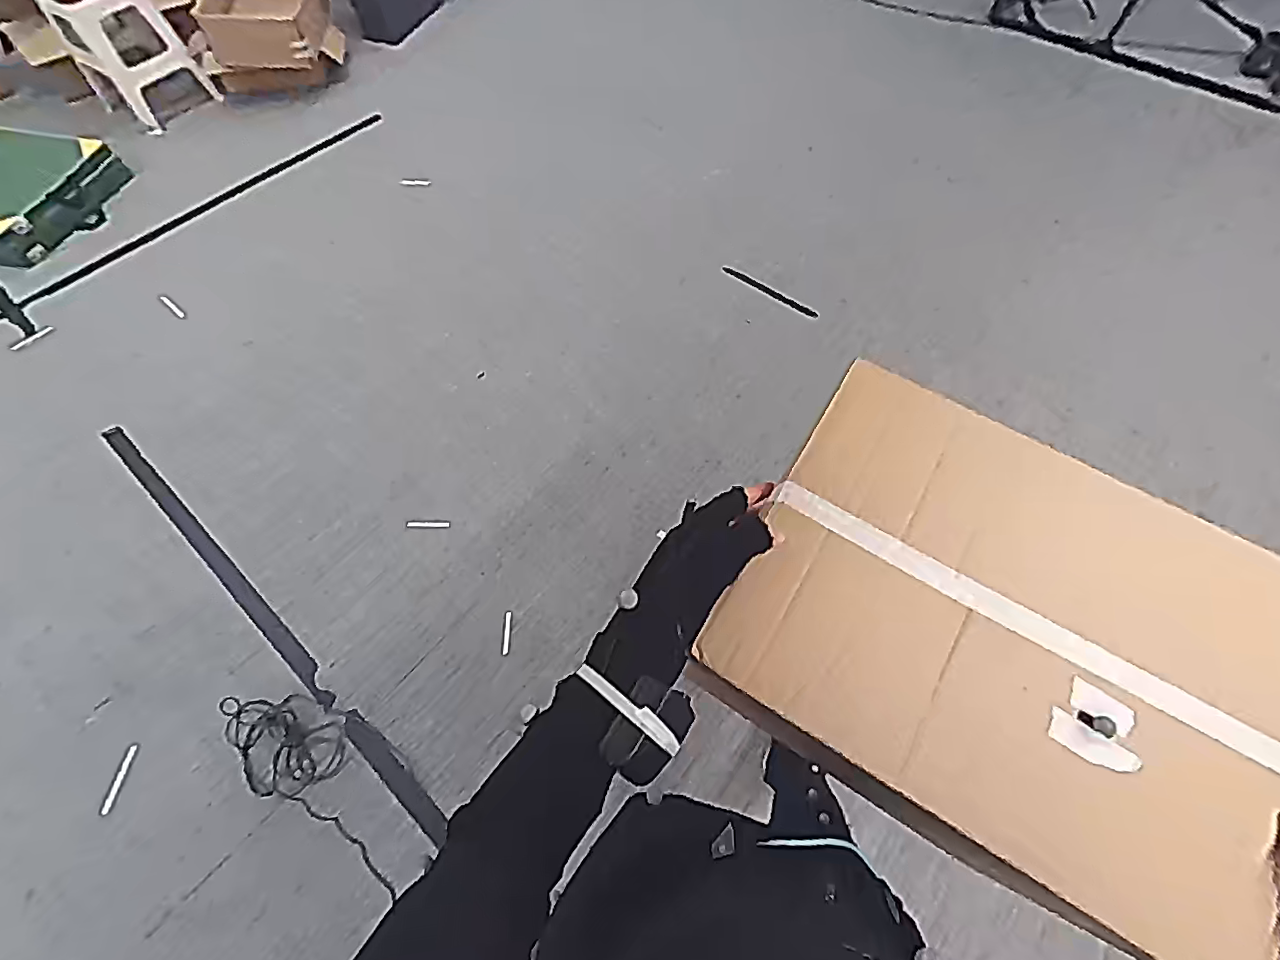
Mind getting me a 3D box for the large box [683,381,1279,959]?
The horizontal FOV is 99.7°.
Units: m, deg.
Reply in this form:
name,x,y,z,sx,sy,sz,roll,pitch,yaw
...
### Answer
name,x,y,z,sx,sy,sz,roll,pitch,yaw
large box,0.296,0.171,0.568,0.408,0.320,0.320,30,73,12
